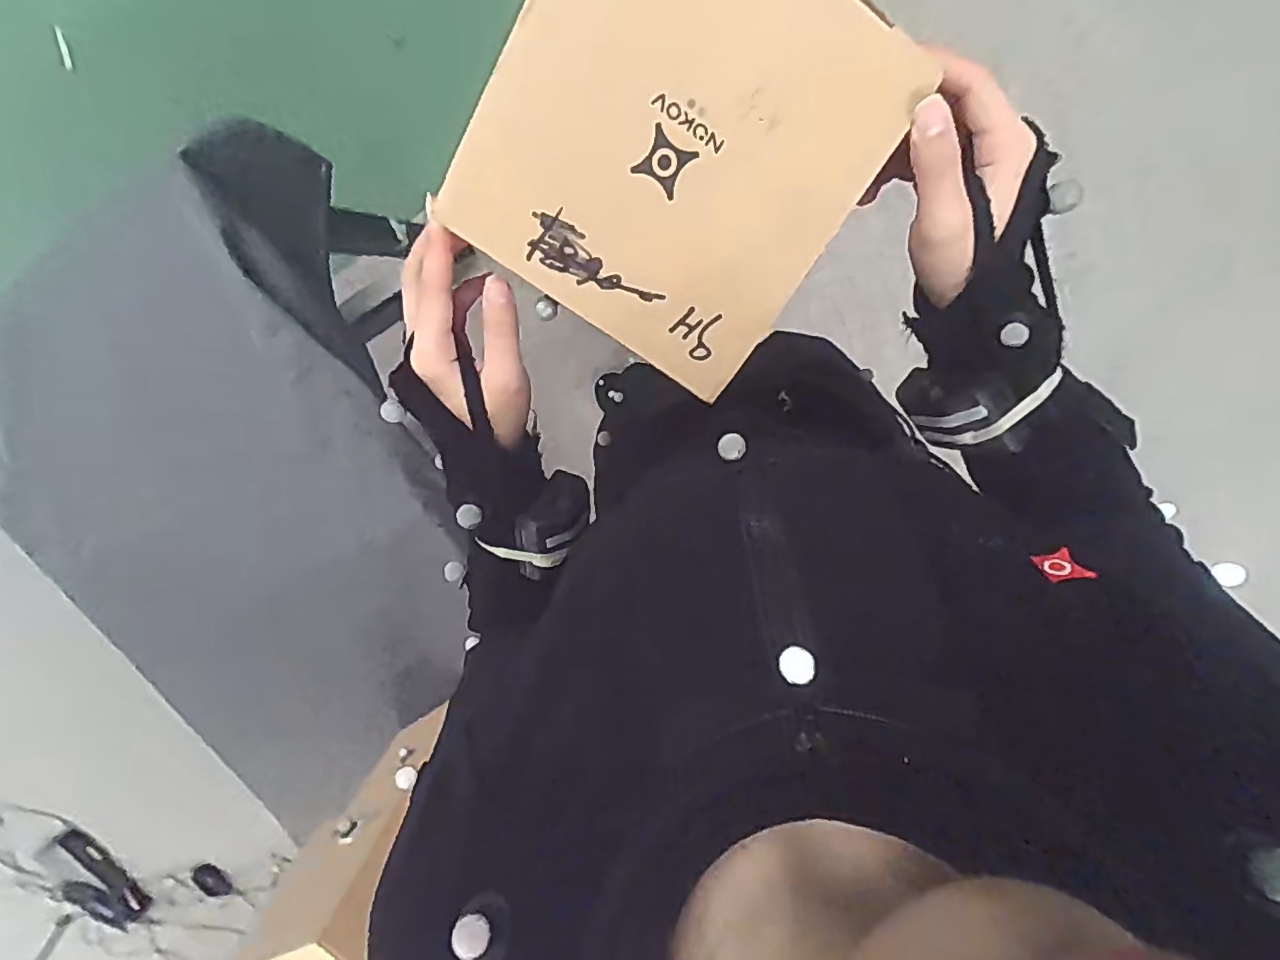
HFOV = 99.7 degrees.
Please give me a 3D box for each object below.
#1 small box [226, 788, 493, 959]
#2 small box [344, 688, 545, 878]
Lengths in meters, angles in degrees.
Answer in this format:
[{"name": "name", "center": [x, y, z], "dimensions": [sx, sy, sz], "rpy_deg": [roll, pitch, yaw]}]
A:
[{"name": "small box", "center": [-0.292, 0.485, 0.591], "dimensions": [0.168, 0.176, 0.179], "rpy_deg": [-32, 103, 15]}, {"name": "small box", "center": [-0.258, 0.426, 0.739], "dimensions": [0.179, 0.176, 0.168], "rpy_deg": [-36, 102, 17]}]
